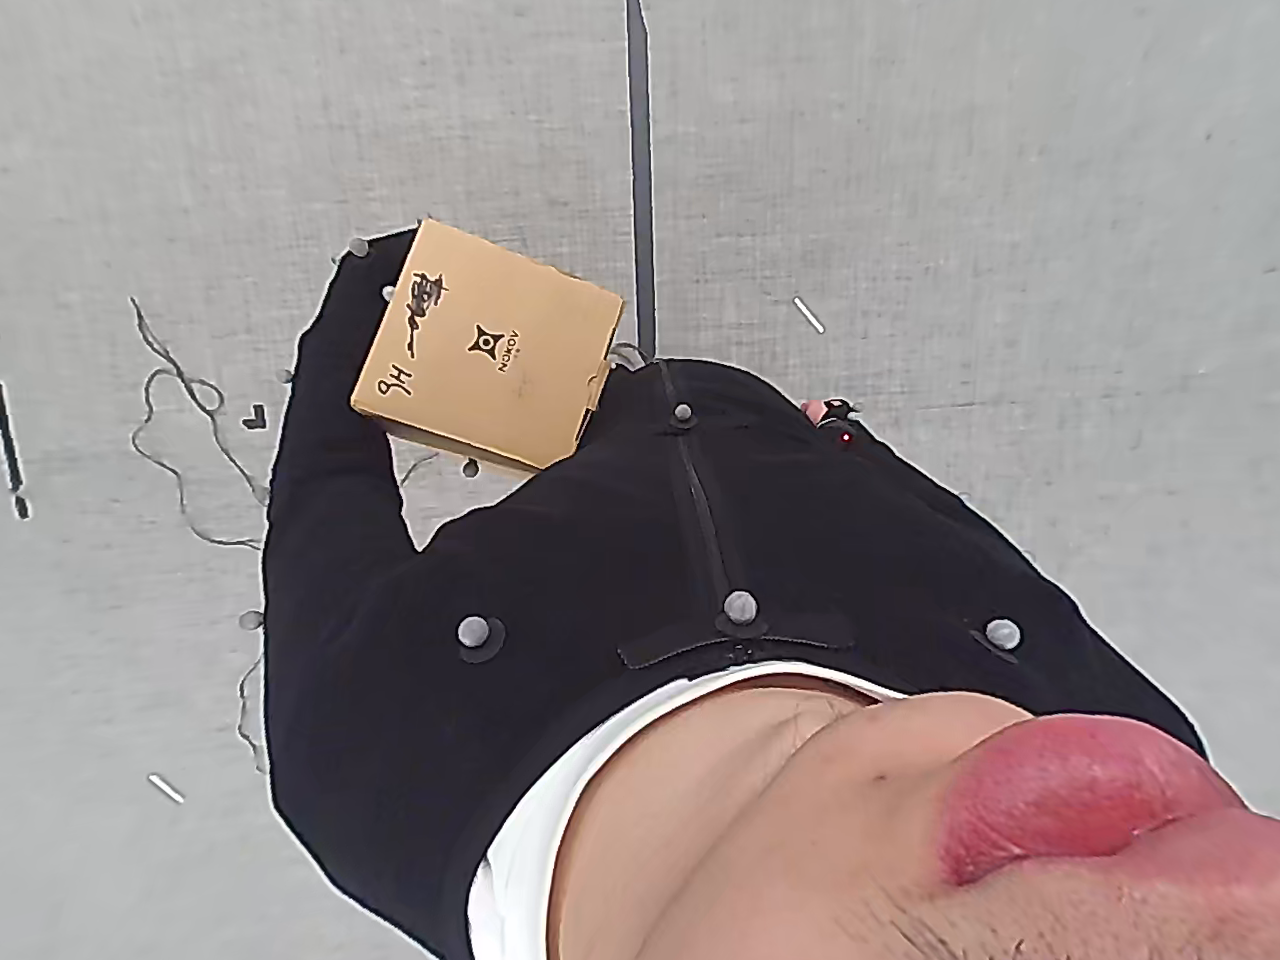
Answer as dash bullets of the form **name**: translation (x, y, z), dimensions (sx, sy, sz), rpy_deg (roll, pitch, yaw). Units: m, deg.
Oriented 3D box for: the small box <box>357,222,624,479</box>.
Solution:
- **small box**: translation (-0.136, -0.103, 0.523), dimensions (0.179, 0.176, 0.168), rpy_deg (18, 81, -12)
